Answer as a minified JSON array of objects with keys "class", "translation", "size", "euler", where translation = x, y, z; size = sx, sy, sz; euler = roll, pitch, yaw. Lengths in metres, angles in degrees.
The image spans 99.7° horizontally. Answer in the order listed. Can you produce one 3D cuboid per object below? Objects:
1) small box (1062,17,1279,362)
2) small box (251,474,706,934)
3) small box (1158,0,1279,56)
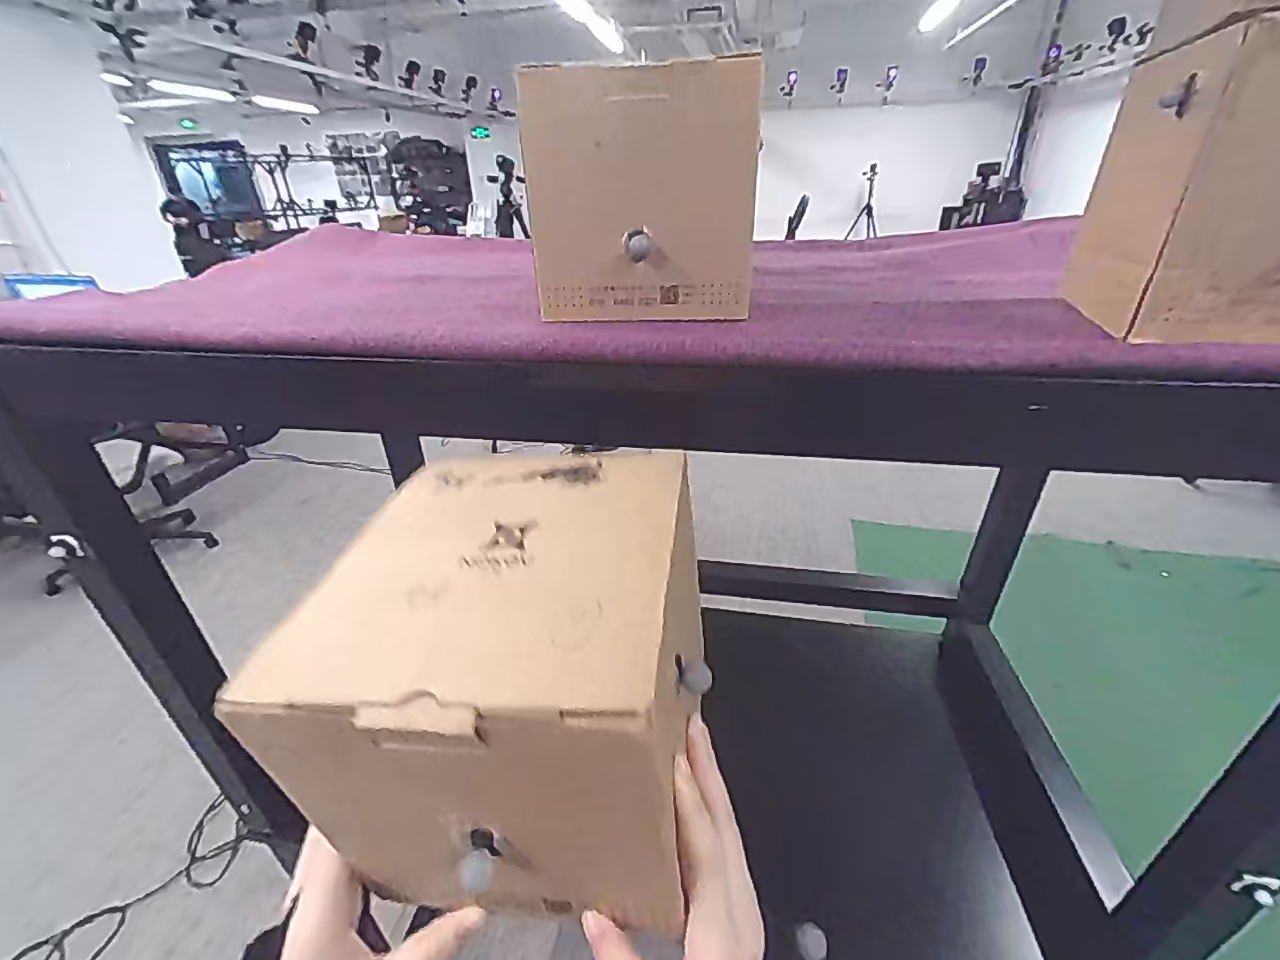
[{"class":"small box","translation":[0.409,-0.178,0.344],"size":[0.168,0.176,0.179],"euler":[9,32,19]},{"class":"small box","translation":[-0.050,0.114,0.304],"size":[0.168,0.176,0.179],"euler":[-2,32,10]},{"class":"small box","translation":[0.403,-0.315,0.258],"size":[0.168,0.176,0.179],"euler":[10,34,23]}]
